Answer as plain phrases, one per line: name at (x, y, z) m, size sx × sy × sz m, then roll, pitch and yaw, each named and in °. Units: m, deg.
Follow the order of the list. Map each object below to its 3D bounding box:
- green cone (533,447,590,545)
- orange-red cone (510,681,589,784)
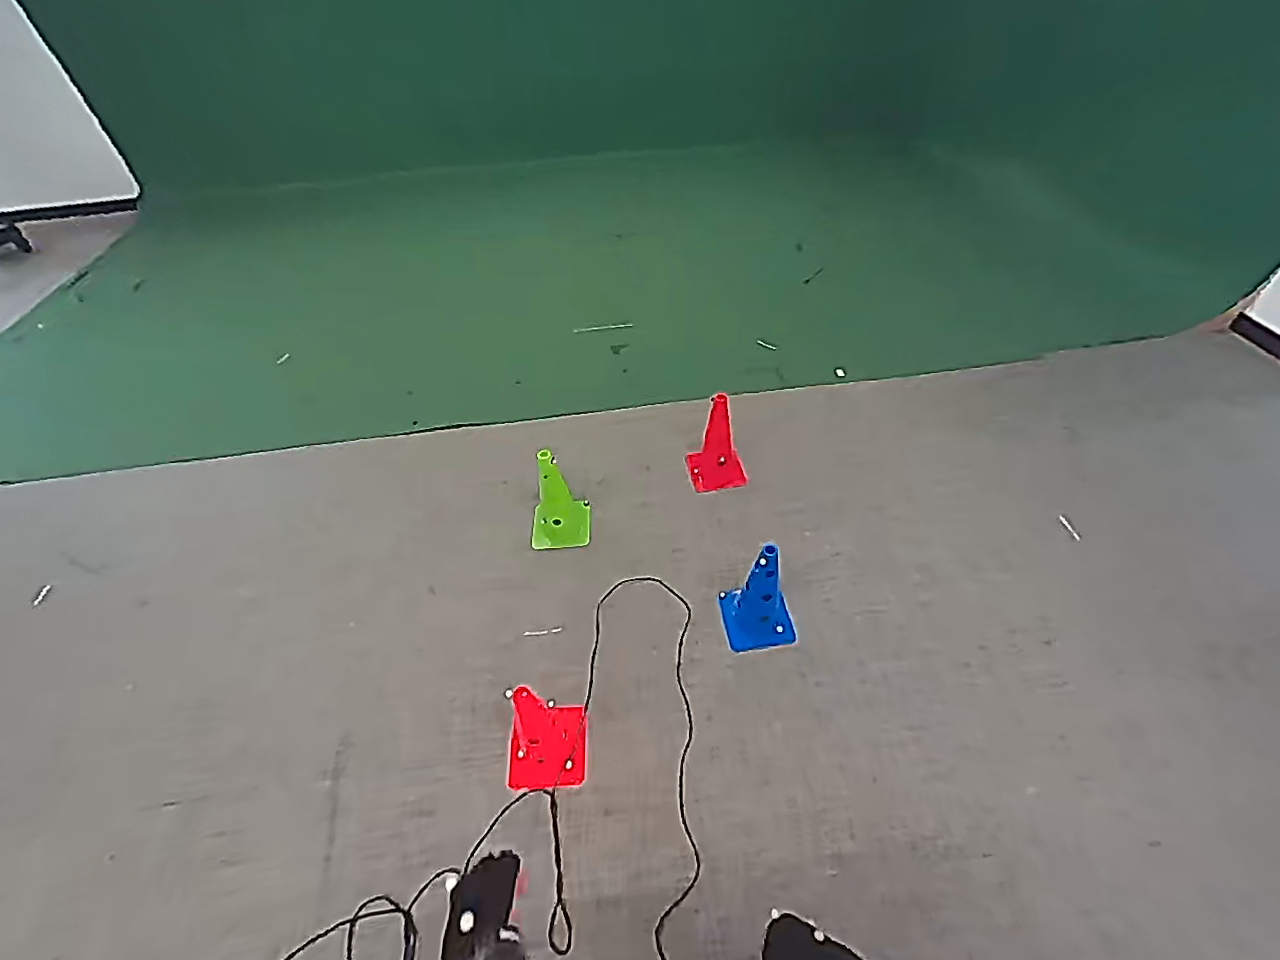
green cone at (-0.287, 0.027, 1.781) m, size 0.200 × 0.368 × 0.202 m, roll -6°, pitch 49°, yaw -1°
orange-red cone at (-0.241, 0.568, 1.292) m, size 0.198 × 0.360 × 0.199 m, roll -3°, pitch 46°, yaw 0°
